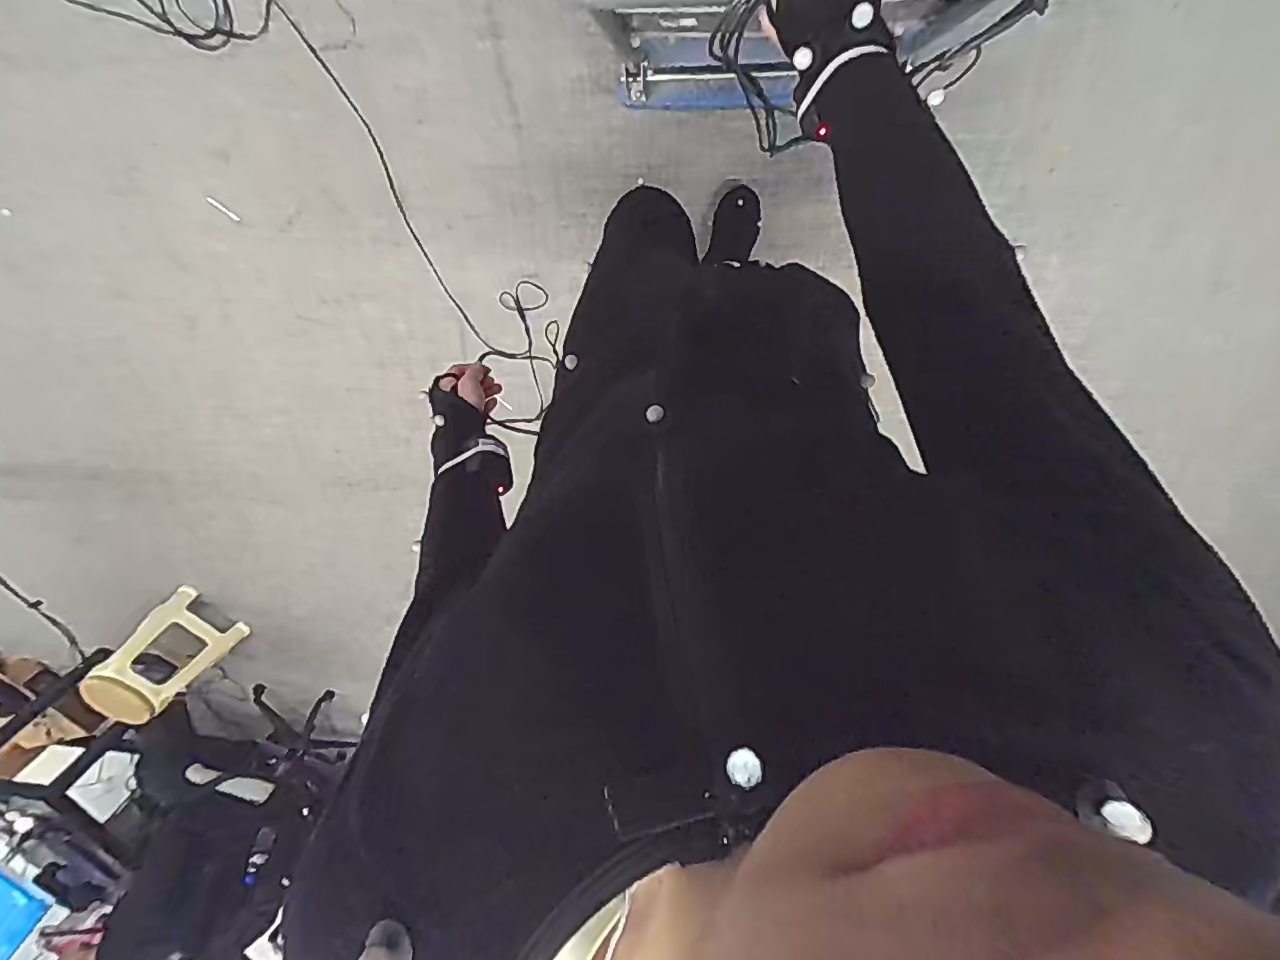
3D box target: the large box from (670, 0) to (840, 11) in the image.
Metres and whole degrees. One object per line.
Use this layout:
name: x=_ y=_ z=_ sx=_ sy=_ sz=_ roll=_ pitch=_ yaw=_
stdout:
large box: x=0.188 y=-0.958 z=0.765 sx=0.320 sy=0.320 sz=0.408 roll=5 pitch=122 yaw=5
